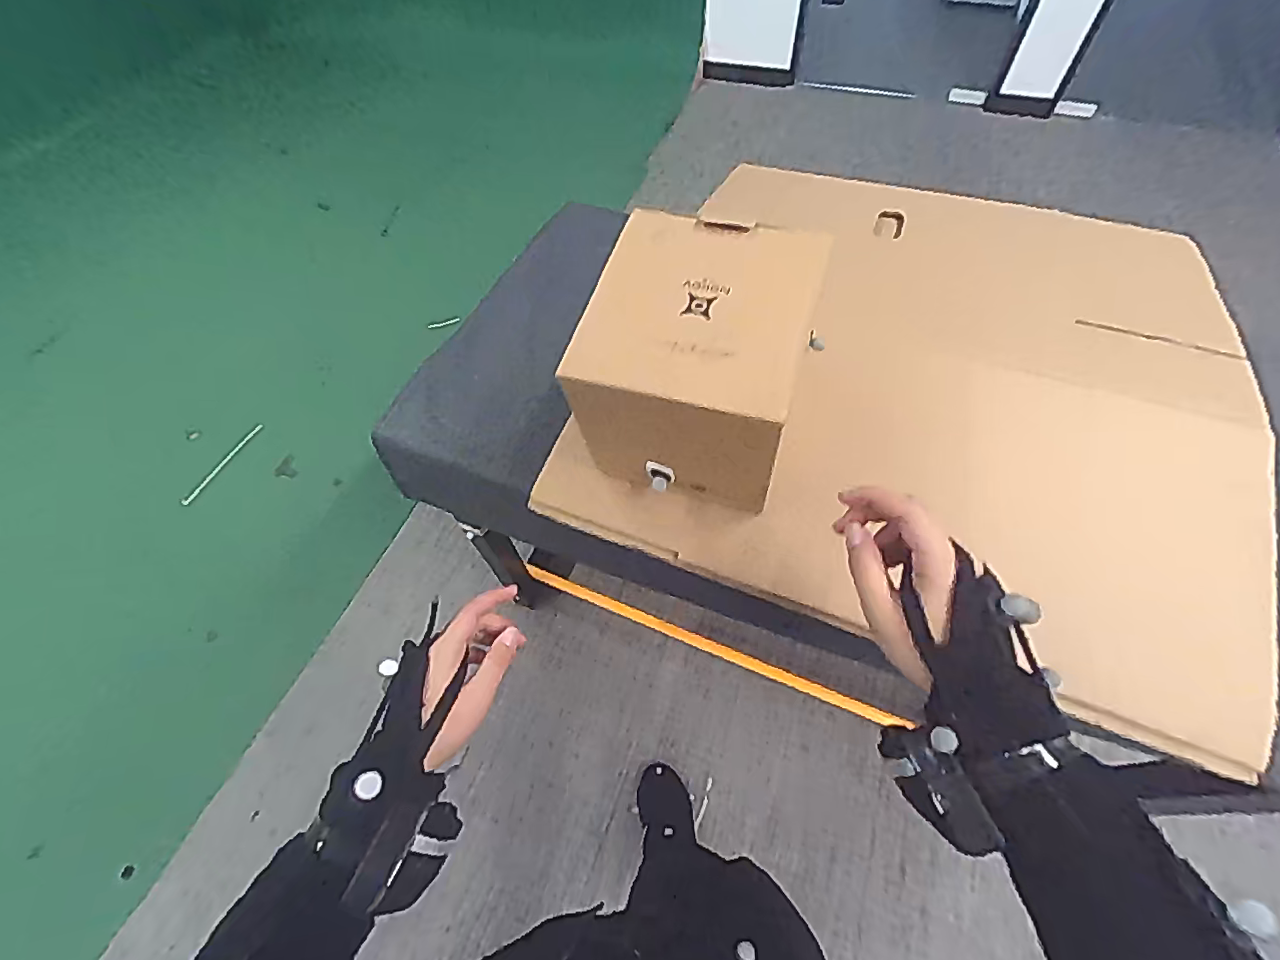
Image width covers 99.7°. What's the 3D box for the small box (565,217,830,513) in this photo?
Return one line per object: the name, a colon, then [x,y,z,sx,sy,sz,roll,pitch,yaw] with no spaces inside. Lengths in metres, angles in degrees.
small box: [0.055,-0.094,0.477,0.168,0.176,0.179,13,68,14]
